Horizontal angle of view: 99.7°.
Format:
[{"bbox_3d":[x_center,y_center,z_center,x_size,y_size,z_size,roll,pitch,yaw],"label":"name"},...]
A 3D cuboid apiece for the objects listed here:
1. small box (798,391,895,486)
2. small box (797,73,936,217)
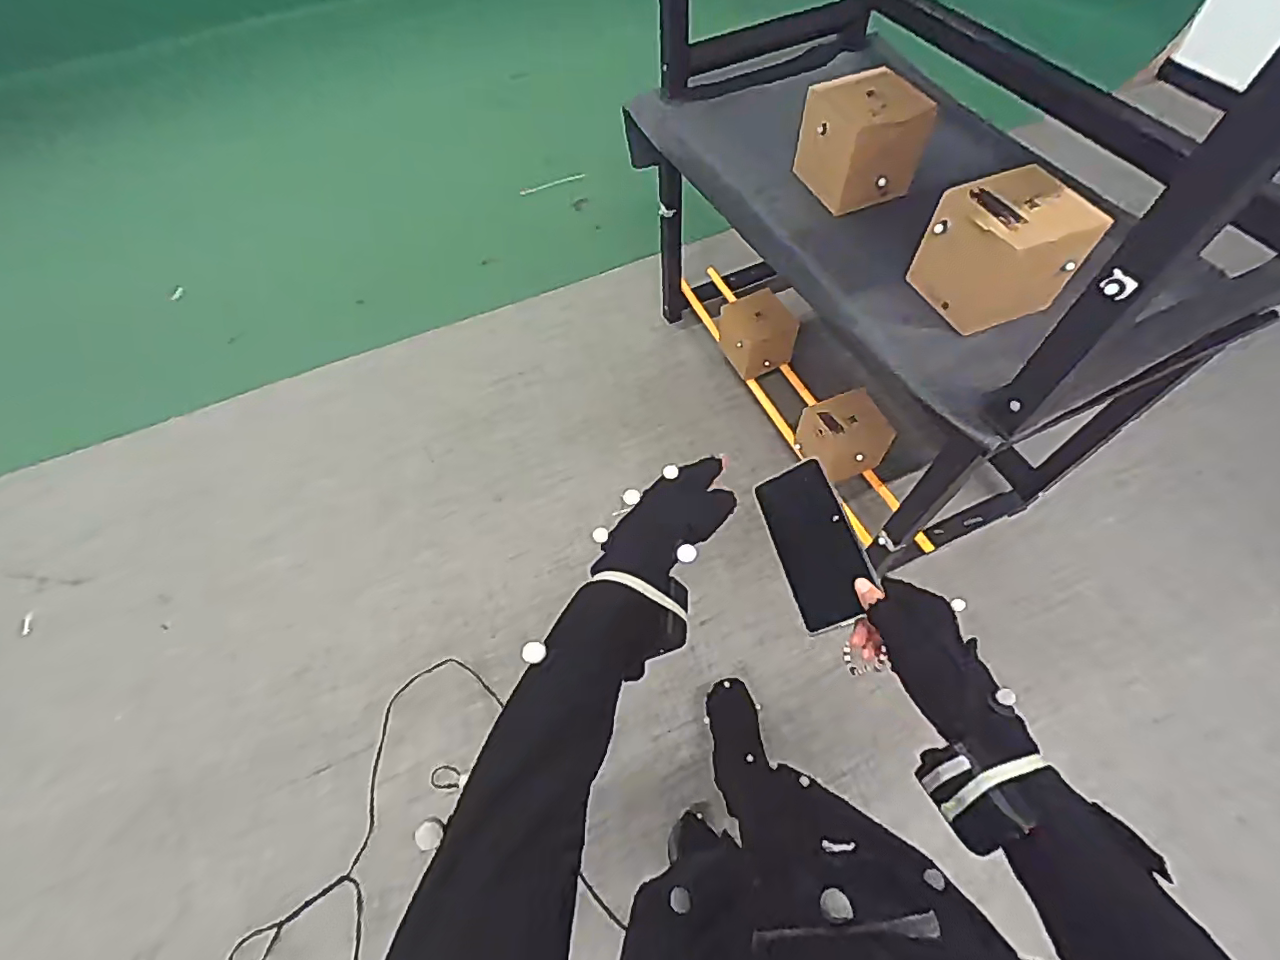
[{"bbox_3d":[0.546,-0.106,1.464,0.179,0.176,0.168,-20,61,-7],"label":"small box"},{"bbox_3d":[0.433,-0.660,1.072,0.168,0.176,0.179,-20,61,-8],"label":"small box"}]
